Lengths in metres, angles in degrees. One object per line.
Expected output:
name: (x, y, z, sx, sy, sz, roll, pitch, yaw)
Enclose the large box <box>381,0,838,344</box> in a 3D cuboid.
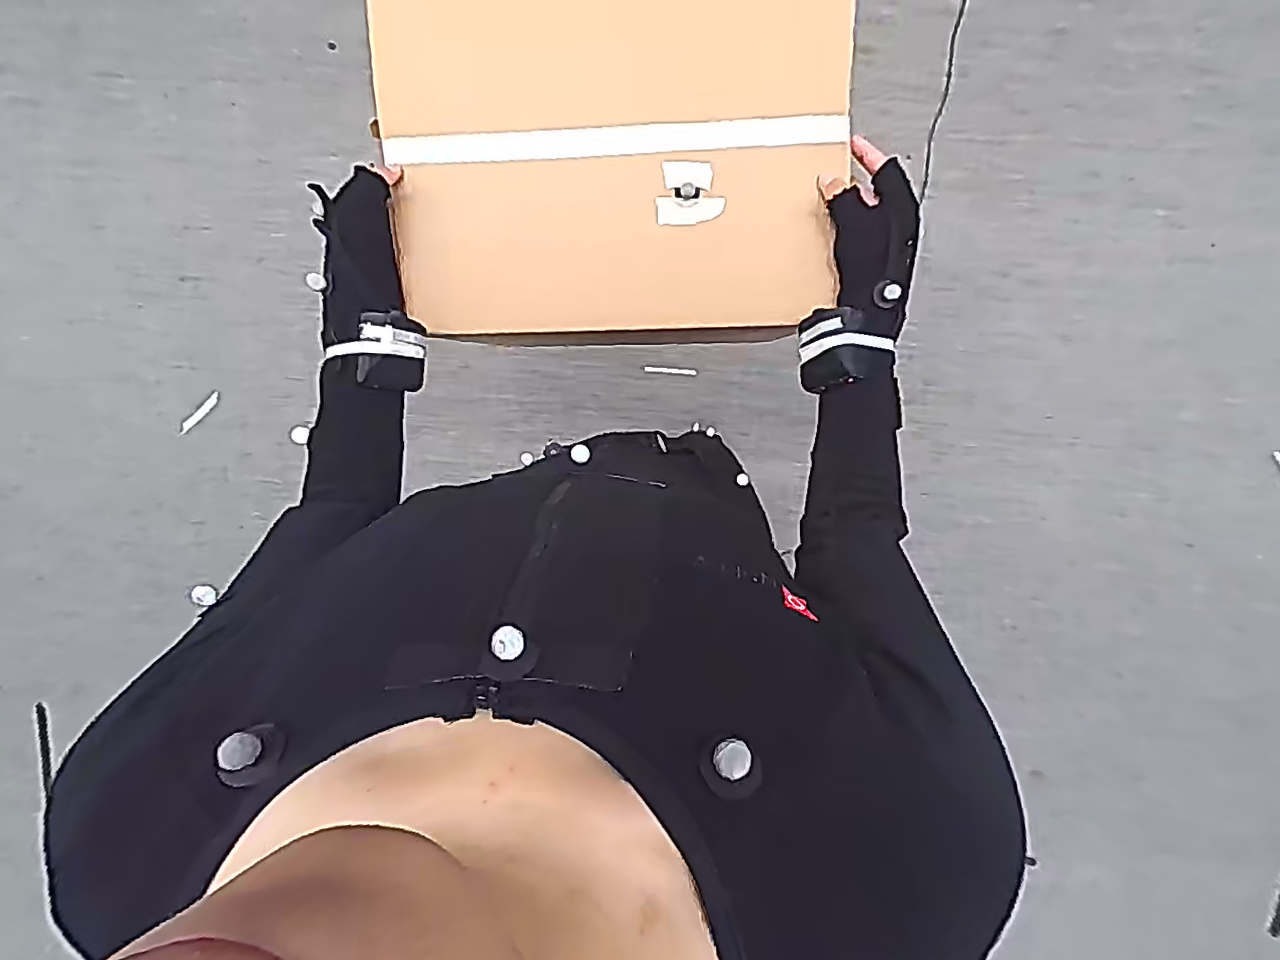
large box: (-0.019, -0.334, 0.635, 0.408, 0.320, 0.320, -2, 103, 3)
